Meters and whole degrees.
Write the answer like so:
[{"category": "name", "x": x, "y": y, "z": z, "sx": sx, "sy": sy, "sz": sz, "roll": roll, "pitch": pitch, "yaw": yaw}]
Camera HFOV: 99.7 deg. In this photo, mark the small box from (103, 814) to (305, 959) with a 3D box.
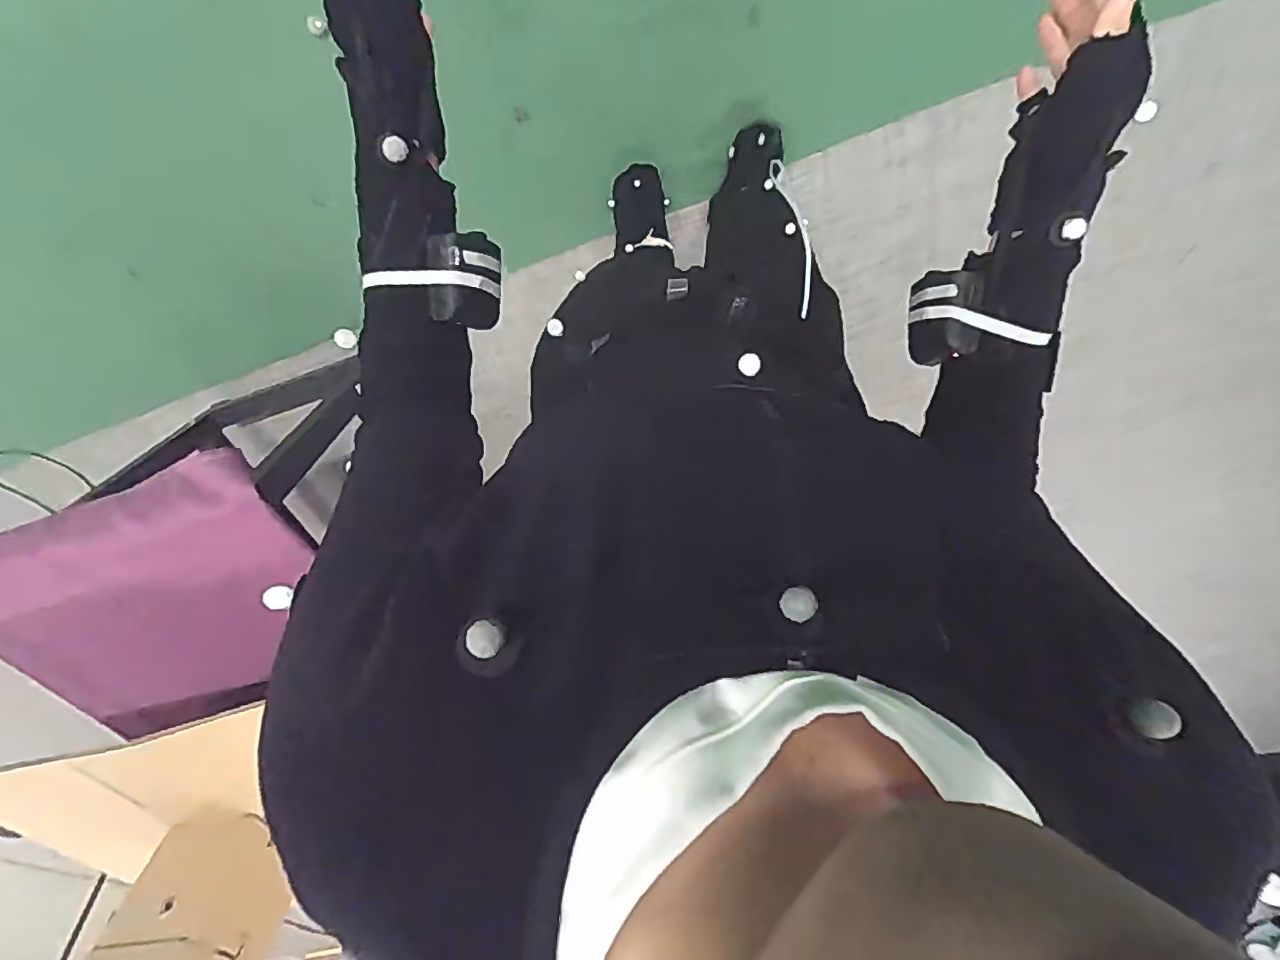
[{"category": "small box", "x": -0.705, "y": 0.685, "z": 0.906, "sx": 0.179, "sy": 0.176, "sz": 0.168, "roll": -13, "pitch": 124, "yaw": 10}]
